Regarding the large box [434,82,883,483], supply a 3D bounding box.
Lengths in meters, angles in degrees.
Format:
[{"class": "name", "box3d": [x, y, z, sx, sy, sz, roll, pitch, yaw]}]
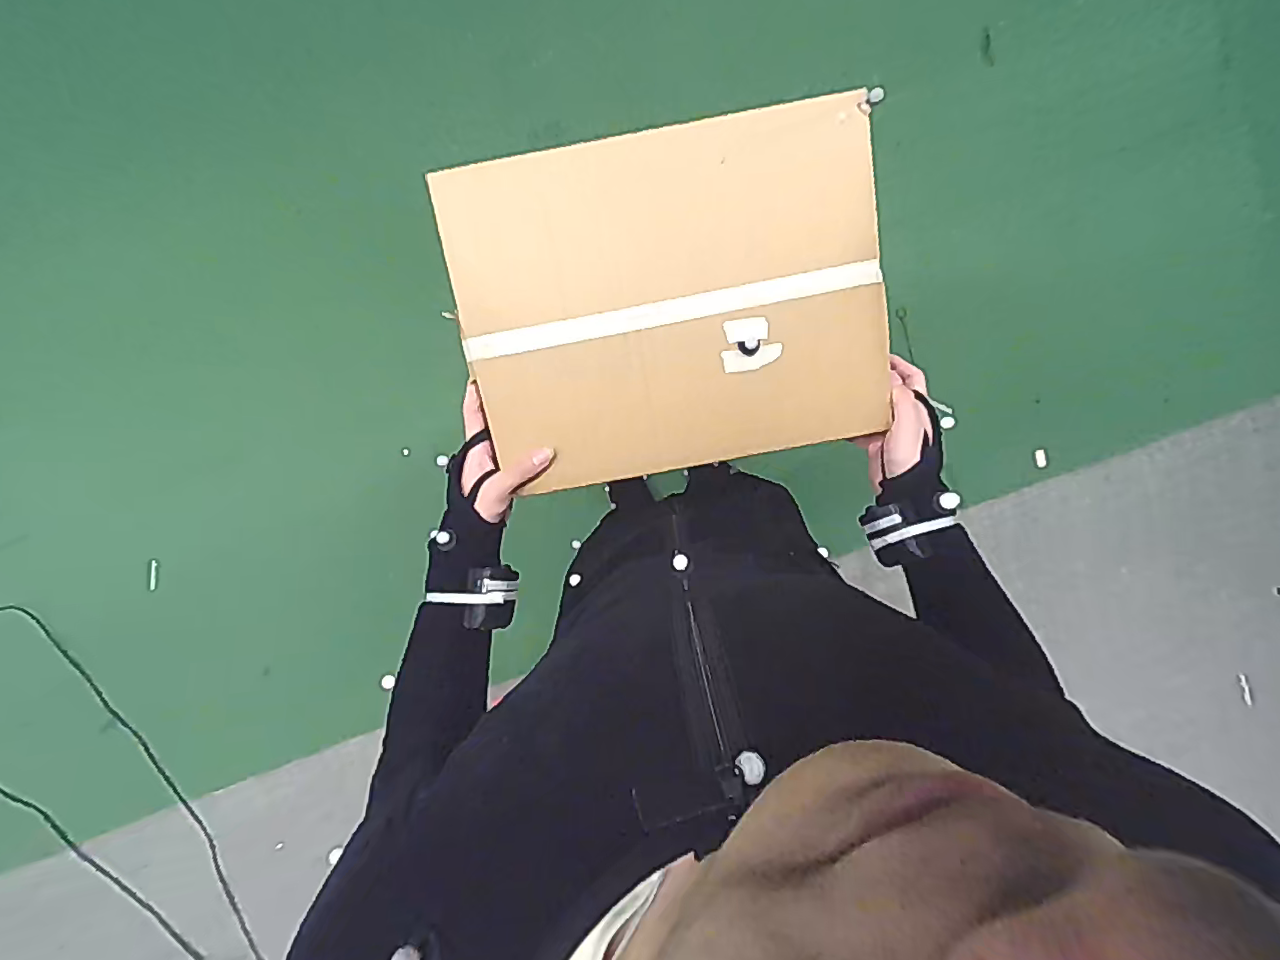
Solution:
[{"class": "large box", "box3d": [0.025, -0.212, 0.673, 0.408, 0.320, 0.320, -11, 104, 1]}]

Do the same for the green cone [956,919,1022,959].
[{"class": "green cone", "box3d": [1.166, 1.577, 1.621, 0.200, 0.368, 0.202, -14, 94, -1]}]
